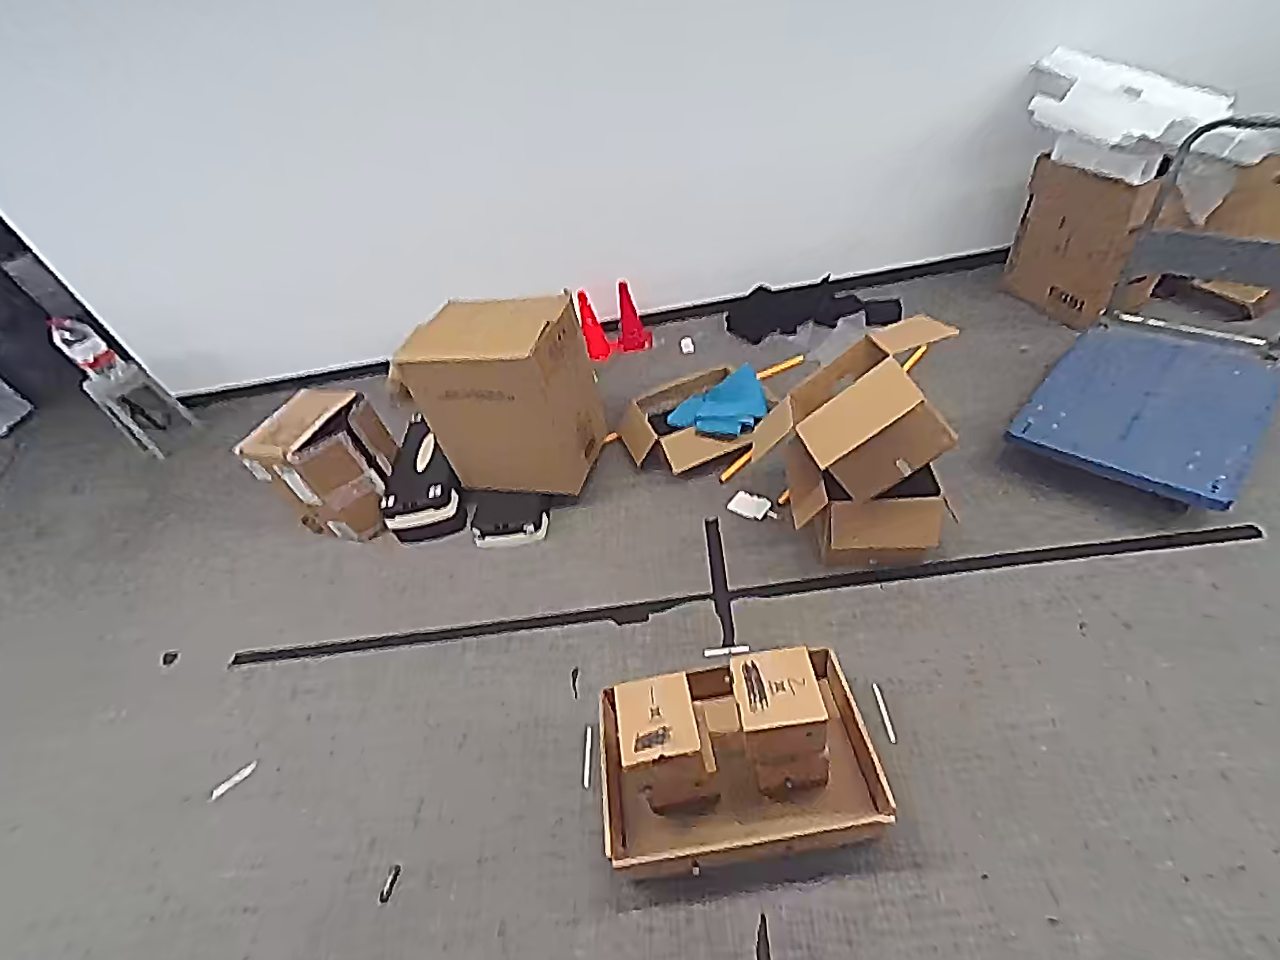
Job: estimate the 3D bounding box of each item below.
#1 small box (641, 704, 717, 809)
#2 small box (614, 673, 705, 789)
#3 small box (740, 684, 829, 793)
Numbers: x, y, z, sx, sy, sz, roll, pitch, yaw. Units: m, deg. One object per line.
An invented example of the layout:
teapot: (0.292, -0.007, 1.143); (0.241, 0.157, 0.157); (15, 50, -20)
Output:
small box: (0.088, 0.672, 1.312); (0.179, 0.176, 0.168); (-12, 42, 1)
small box: (0.044, 0.561, 1.197); (0.168, 0.176, 0.179); (-12, 41, 0)
small box: (0.342, 0.622, 1.302); (0.168, 0.176, 0.179); (-12, 43, 4)
